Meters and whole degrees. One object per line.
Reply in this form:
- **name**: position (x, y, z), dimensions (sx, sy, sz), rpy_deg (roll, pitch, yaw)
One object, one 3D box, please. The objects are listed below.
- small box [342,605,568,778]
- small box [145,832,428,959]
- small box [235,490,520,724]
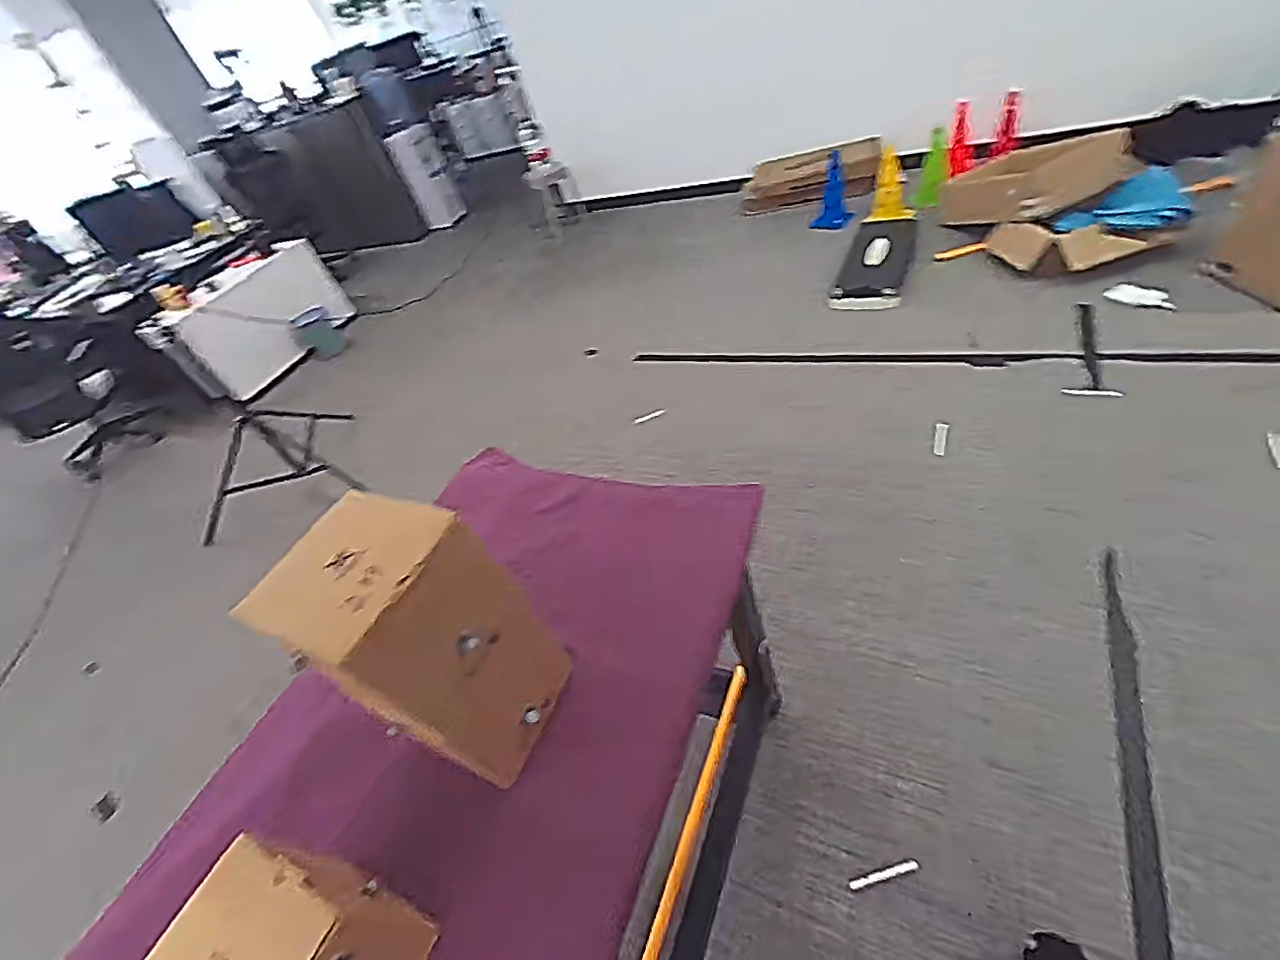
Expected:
- **small box**: position (-0.223, 0.251, 0.692), dimensions (0.179, 0.176, 0.168), rpy_deg (9, 51, 28)
- **small box**: position (-0.342, 0.480, 0.512), dimensions (0.168, 0.176, 0.179), rpy_deg (7, 49, 27)
- **small box**: position (-0.265, 0.135, 0.582), dimensions (0.179, 0.176, 0.168), rpy_deg (9, 52, 28)
